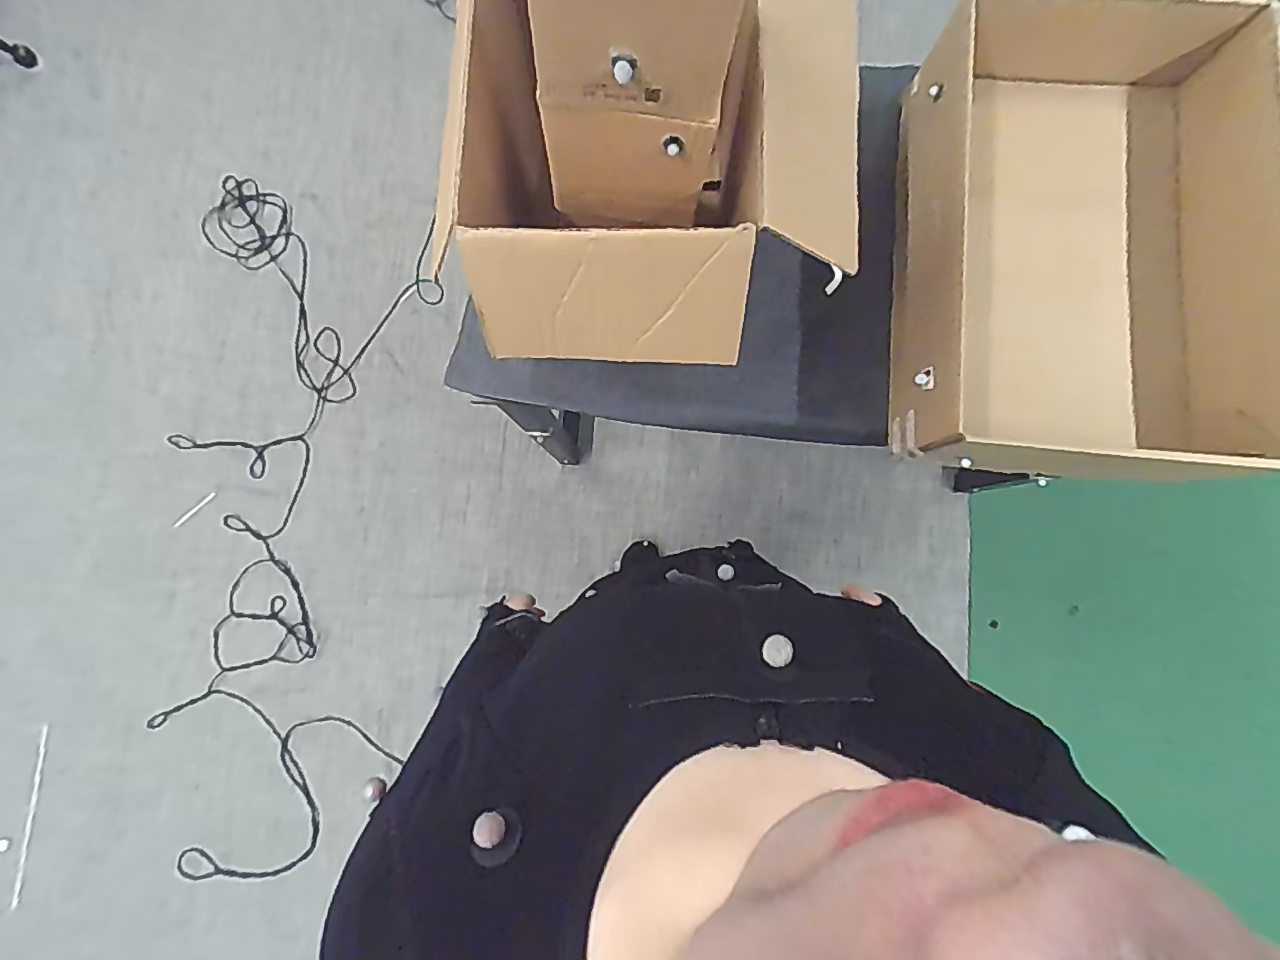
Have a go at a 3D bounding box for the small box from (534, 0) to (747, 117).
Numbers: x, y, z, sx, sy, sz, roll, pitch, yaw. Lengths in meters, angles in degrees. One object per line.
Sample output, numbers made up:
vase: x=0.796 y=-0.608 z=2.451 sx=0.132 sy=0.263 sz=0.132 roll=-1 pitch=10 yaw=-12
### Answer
small box: x=0.001 y=-0.443 z=0.436 sx=0.168 sy=0.176 sz=0.179 roll=3 pitch=83 yaw=-3
